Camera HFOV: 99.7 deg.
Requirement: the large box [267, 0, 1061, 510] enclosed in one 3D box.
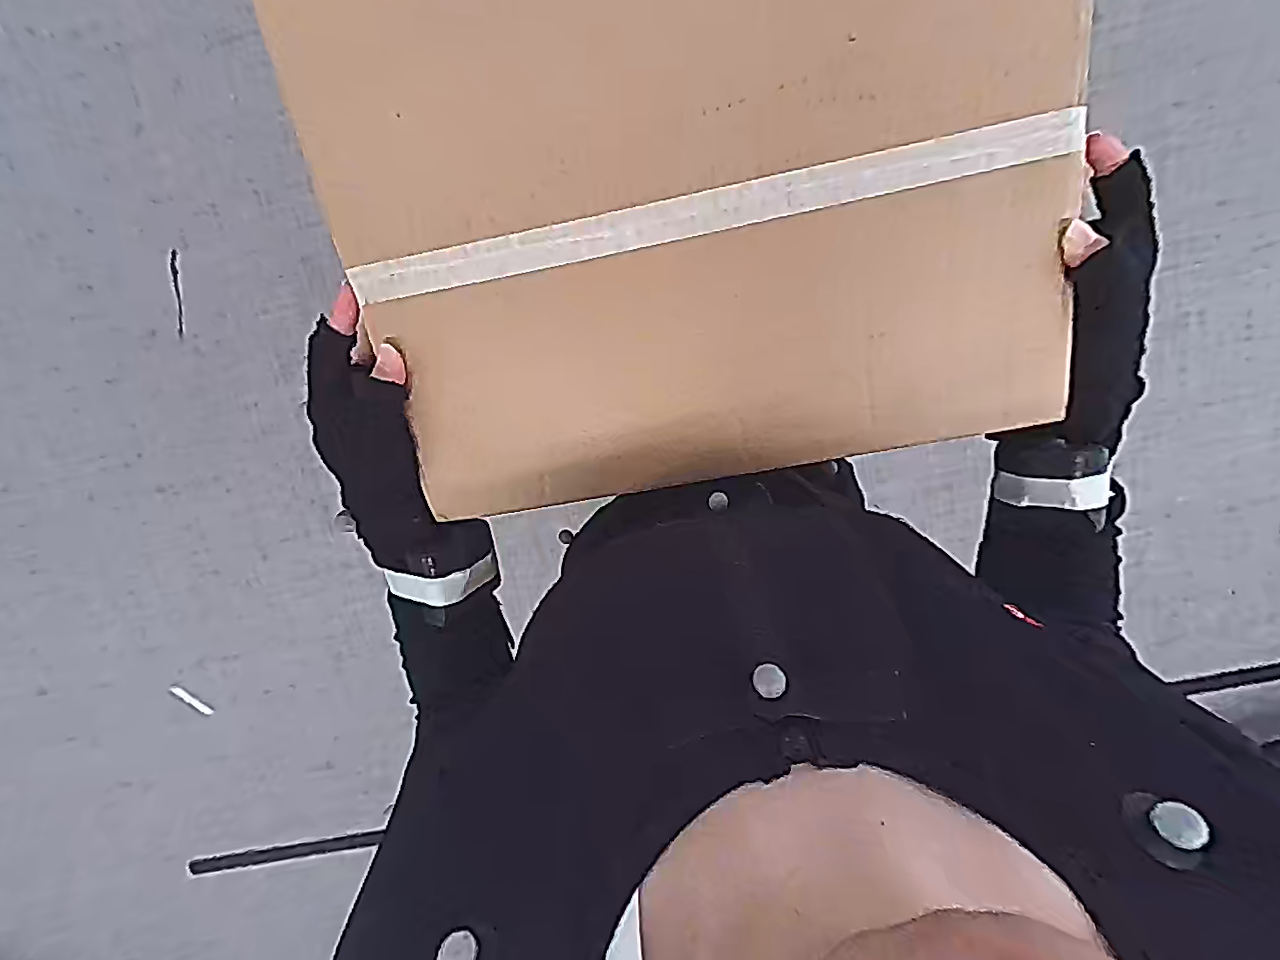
[{"bbox_3d":[0.033,-0.205,0.449,0.408,0.320,0.320,-10,109,5],"label":"large box"}]
